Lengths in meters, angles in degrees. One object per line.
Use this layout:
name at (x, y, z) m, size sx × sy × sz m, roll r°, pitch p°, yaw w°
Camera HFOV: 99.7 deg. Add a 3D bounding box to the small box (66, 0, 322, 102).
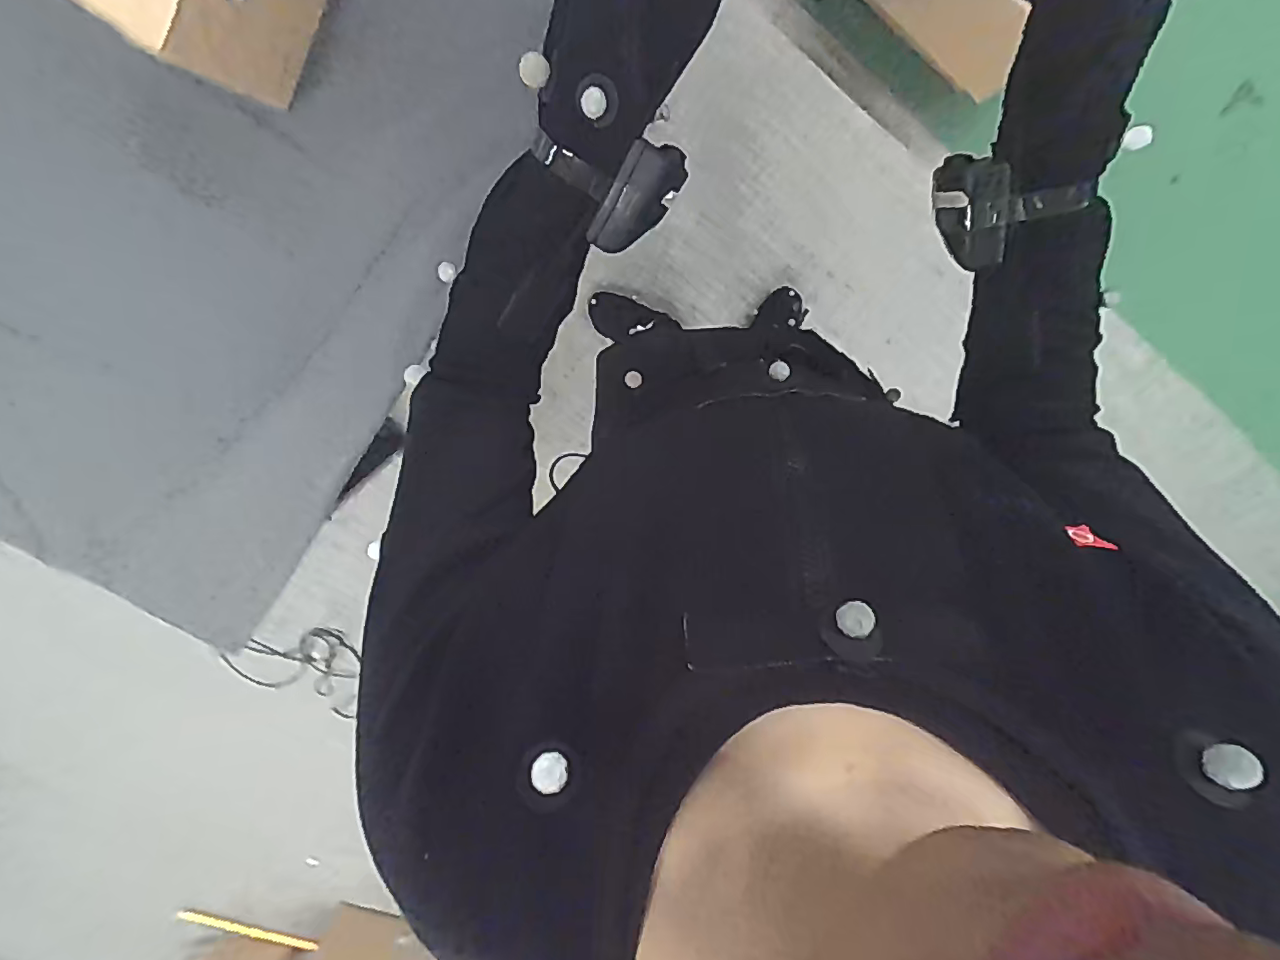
small box at (-0.398, -0.468, 0.457) m, size 0.168 × 0.176 × 0.179 m, roll 31°, pitch 109°, yaw -13°
